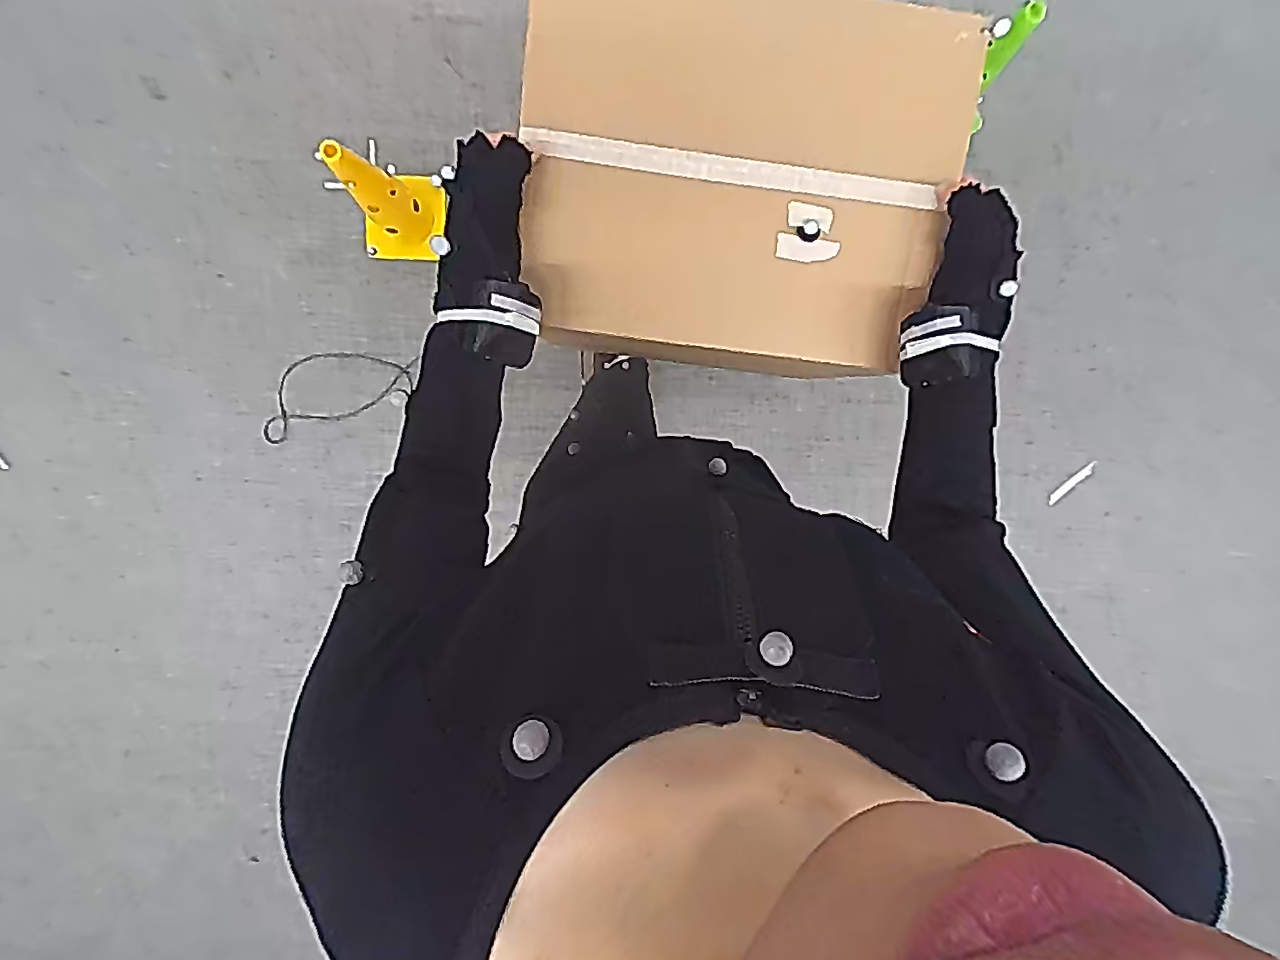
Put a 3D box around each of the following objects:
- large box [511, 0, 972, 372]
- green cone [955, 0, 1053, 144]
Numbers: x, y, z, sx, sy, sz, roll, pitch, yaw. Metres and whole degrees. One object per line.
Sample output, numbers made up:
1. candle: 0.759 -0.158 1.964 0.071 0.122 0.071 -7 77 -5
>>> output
1. large box: 0.081 -0.311 0.644 0.408 0.320 0.320 6 99 -4
2. green cone: 0.742 -0.905 1.188 0.202 0.368 0.200 -35 97 2
